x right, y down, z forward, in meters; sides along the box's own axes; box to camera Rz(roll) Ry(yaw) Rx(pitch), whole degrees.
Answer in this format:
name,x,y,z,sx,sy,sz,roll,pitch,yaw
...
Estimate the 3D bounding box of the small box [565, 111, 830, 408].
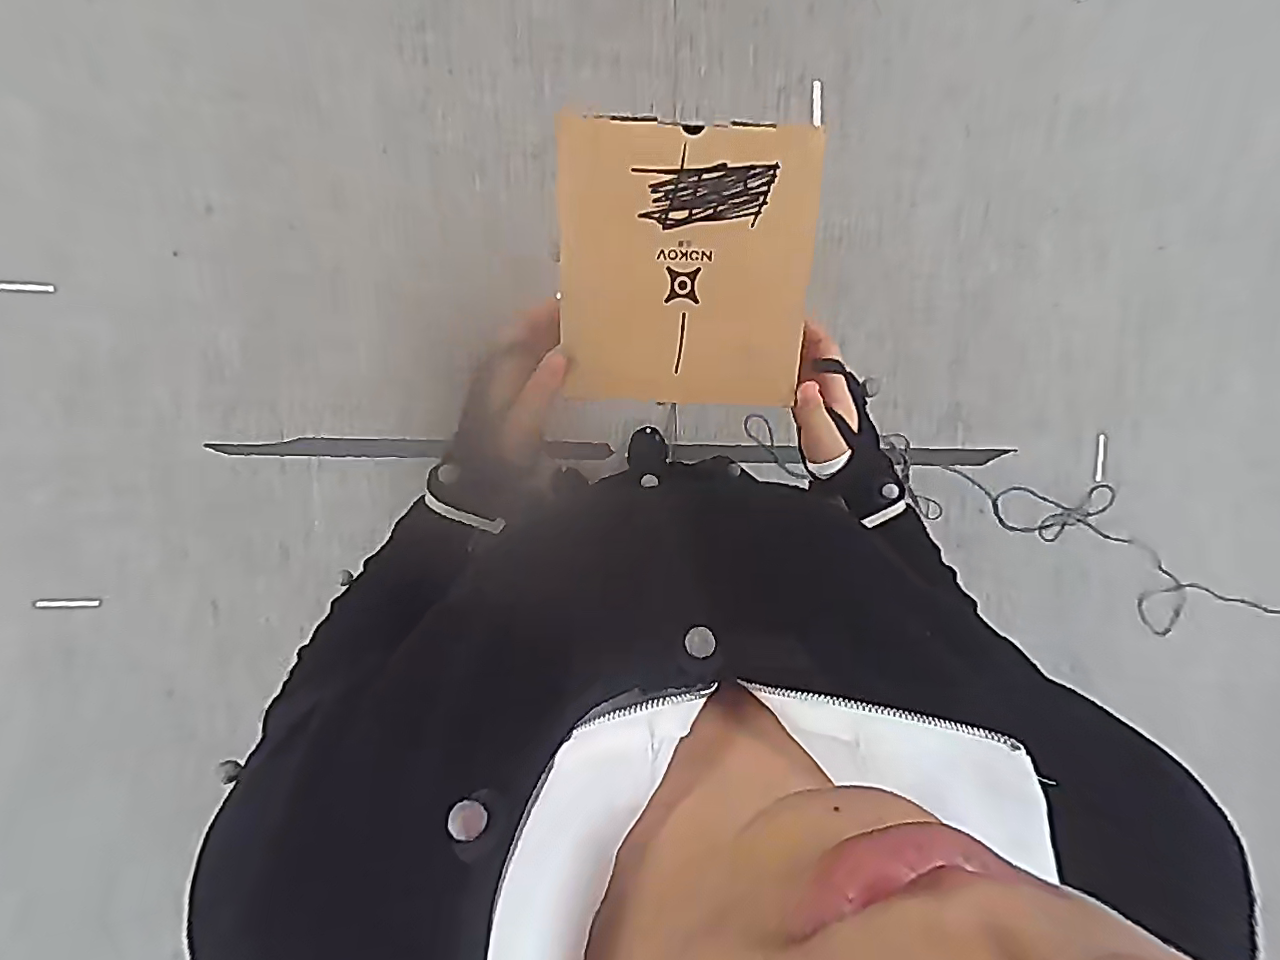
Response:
name,x,y,z,sx,sy,sz,roll,pitch,yaw
small box,0.031,-0.158,0.429,0.168,0.176,0.179,2,106,-2
